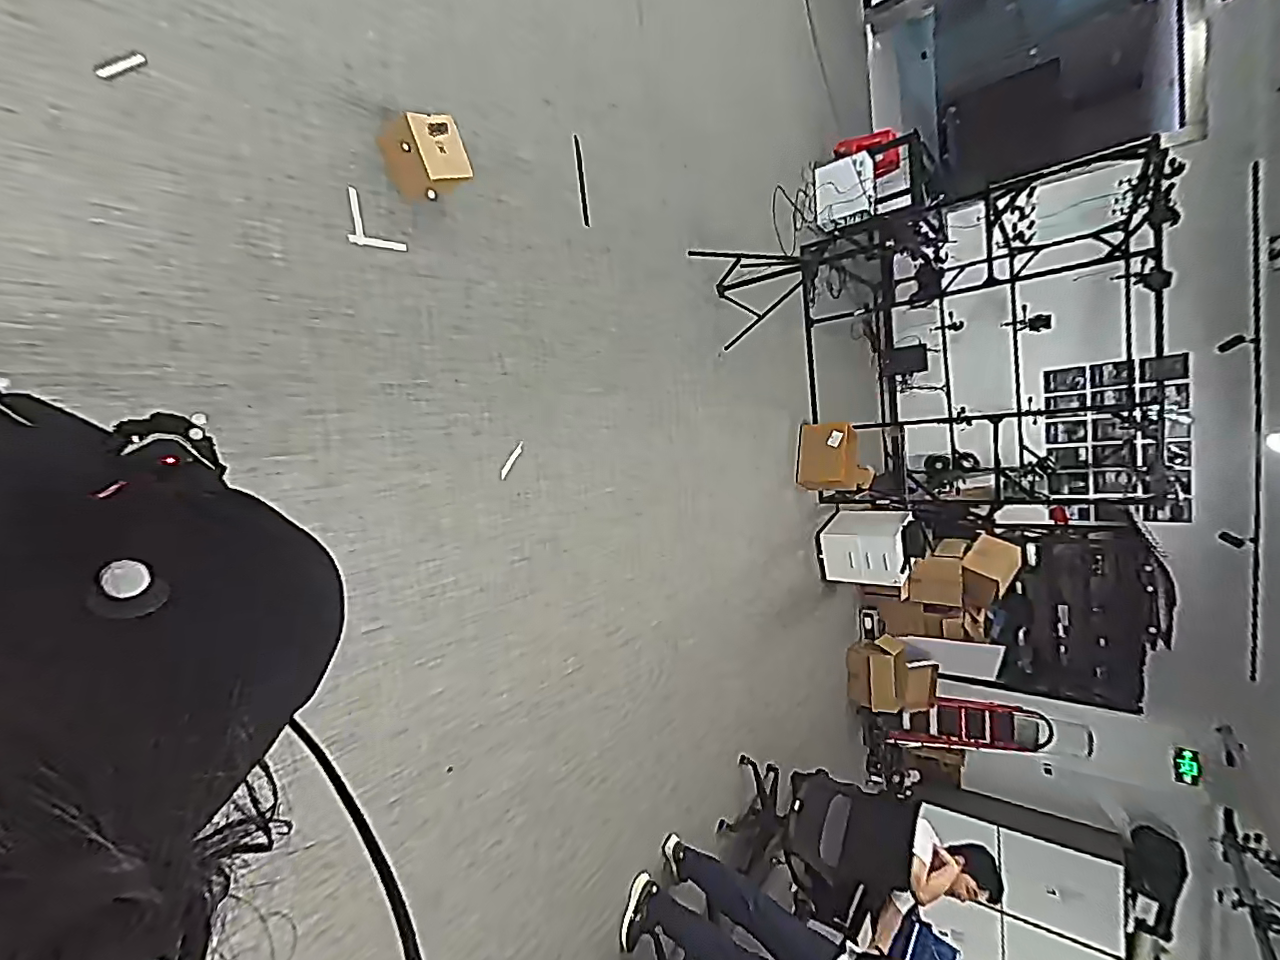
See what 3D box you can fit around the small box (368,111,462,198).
[{"bbox_3d":[-0.679,-0.973,1.627,0.168,0.176,0.179,-38,119,-46],"label":"small box"}]
